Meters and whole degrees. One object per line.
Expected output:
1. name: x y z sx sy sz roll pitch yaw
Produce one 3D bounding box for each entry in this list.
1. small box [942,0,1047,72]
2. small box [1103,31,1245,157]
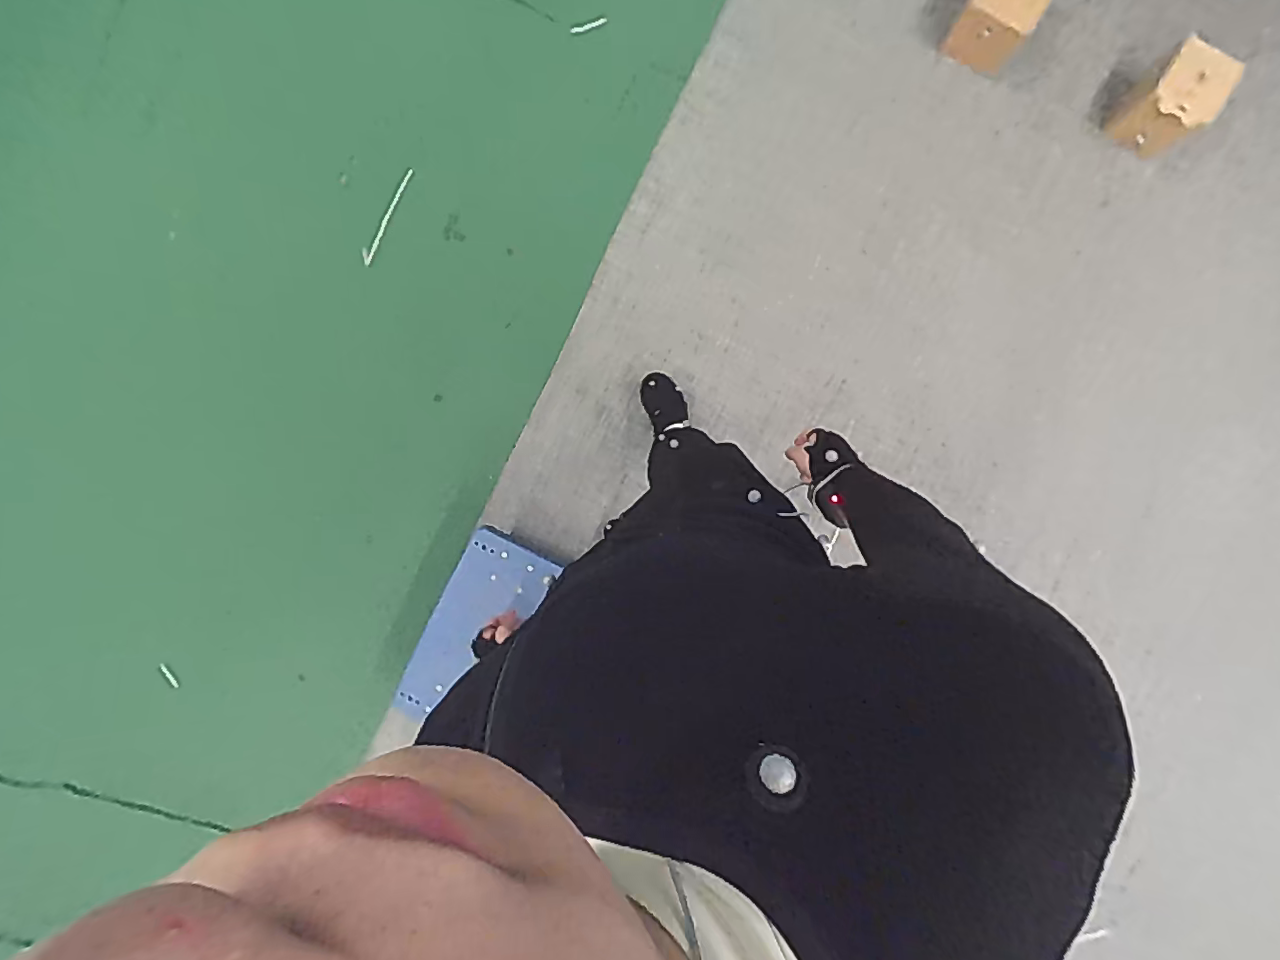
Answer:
1. small box: 0.967 -1.266 1.465 0.179 0.176 0.168 32 94 1
2. small box: 1.418 -1.025 1.451 0.168 0.176 0.179 38 95 3
